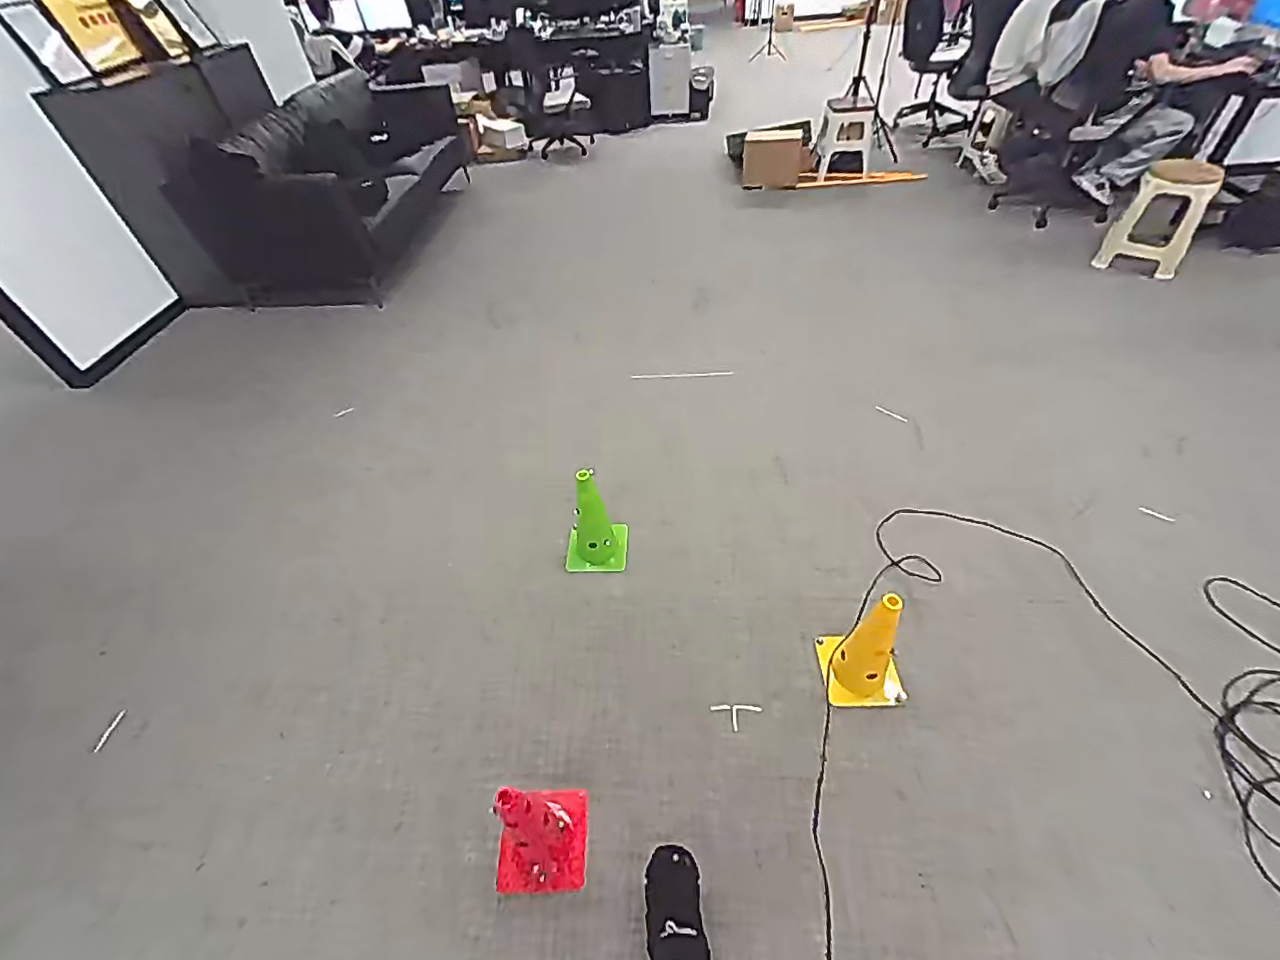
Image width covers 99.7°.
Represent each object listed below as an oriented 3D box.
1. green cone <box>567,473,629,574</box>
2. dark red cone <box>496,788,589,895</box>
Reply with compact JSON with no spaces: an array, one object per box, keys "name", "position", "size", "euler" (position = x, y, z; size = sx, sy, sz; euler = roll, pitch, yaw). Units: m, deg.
[{"name":"green cone","position":[-0.150,0.119,1.718],"size":[0.202,0.368,0.200],"euler":[-1,46,3]},{"name":"dark red cone","position":[-0.230,0.710,1.117],"size":[0.202,0.394,0.201],"euler":[-5,47,1]}]
